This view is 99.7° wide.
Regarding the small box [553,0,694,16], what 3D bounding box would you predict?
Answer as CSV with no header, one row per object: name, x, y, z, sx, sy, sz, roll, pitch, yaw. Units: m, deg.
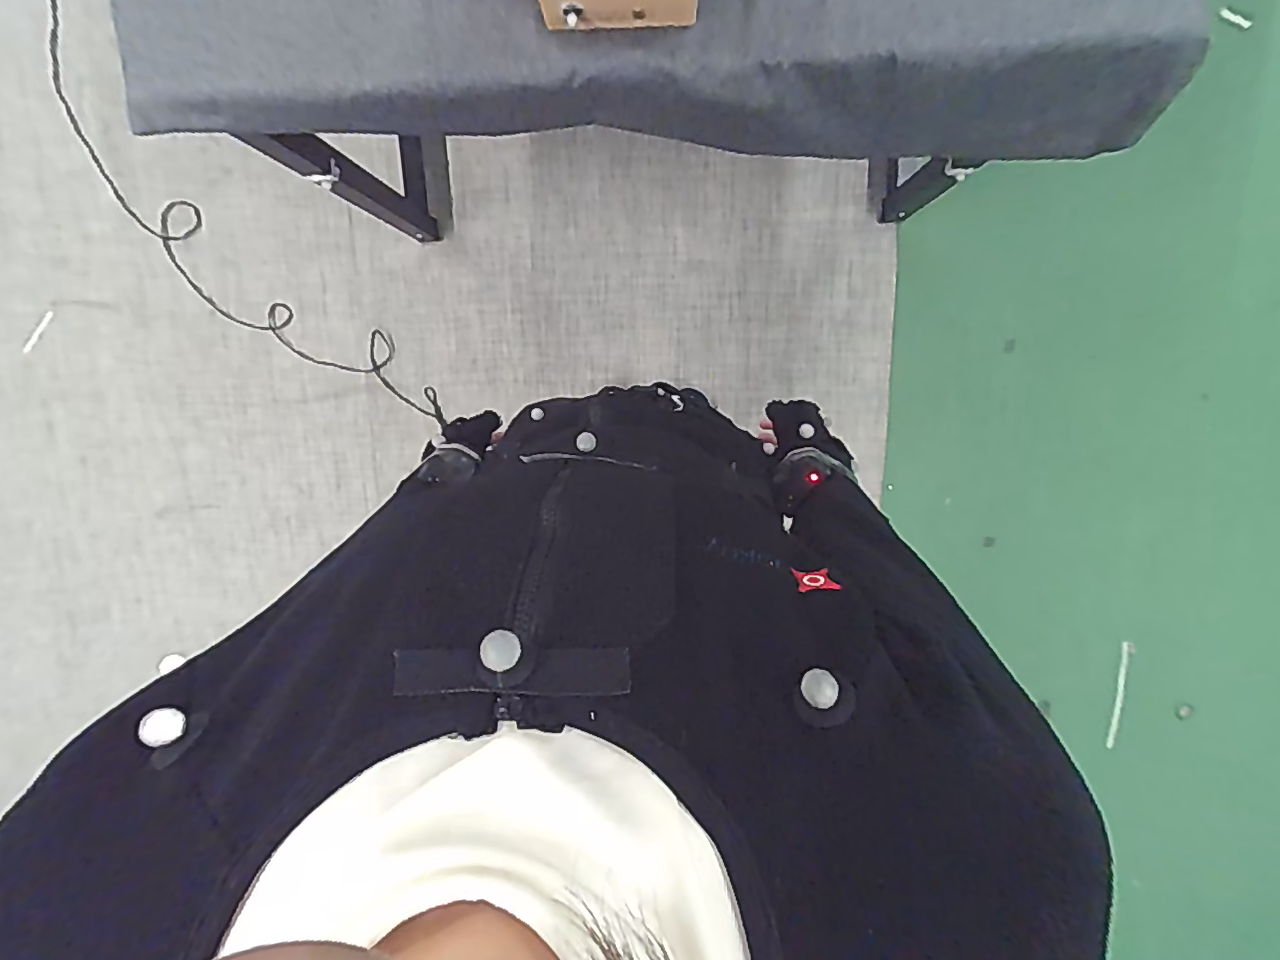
small box,-0.024,-0.589,0.516,0.168,0.176,0.179,0,98,2
